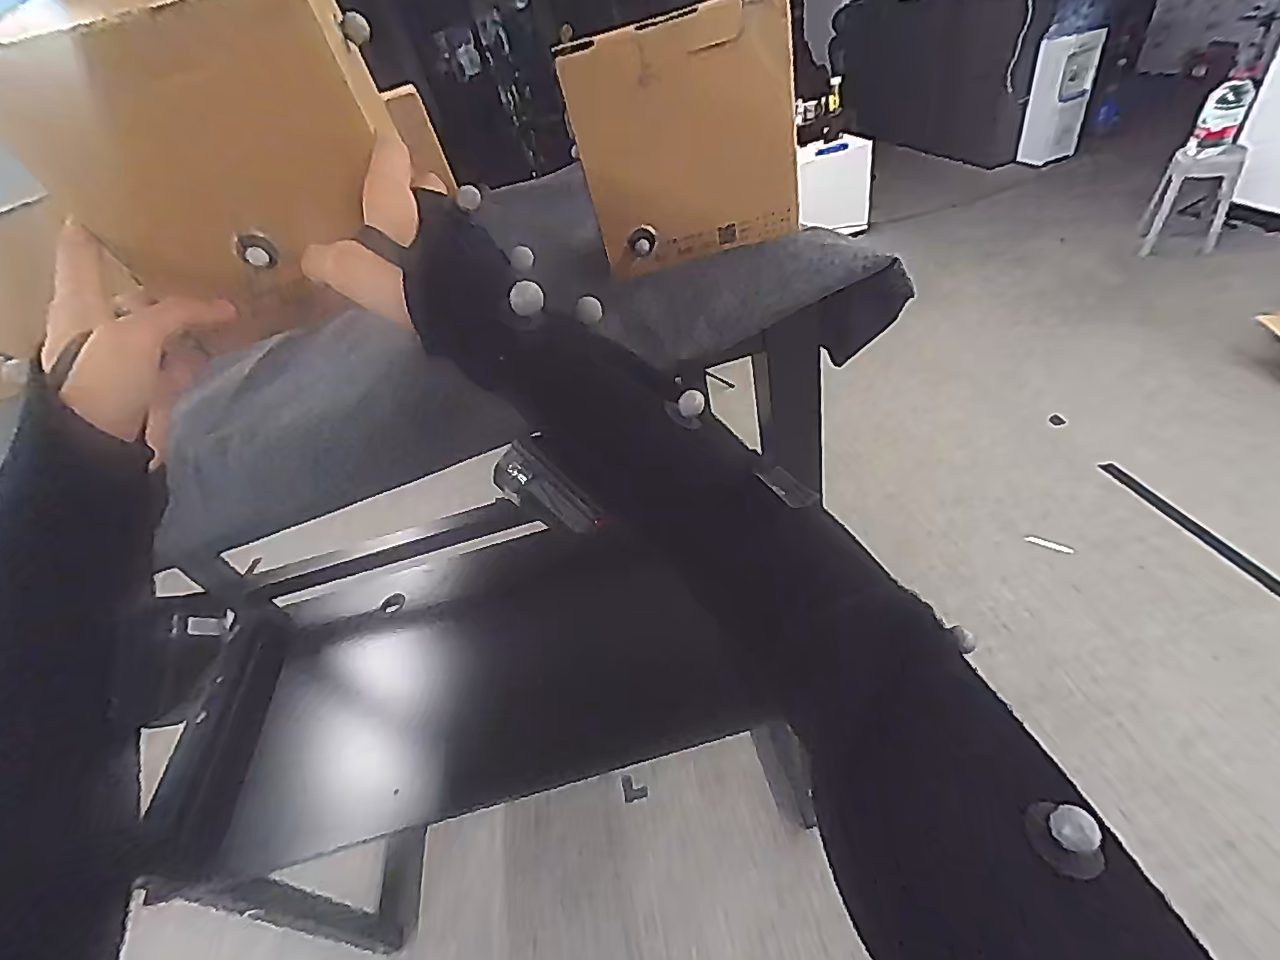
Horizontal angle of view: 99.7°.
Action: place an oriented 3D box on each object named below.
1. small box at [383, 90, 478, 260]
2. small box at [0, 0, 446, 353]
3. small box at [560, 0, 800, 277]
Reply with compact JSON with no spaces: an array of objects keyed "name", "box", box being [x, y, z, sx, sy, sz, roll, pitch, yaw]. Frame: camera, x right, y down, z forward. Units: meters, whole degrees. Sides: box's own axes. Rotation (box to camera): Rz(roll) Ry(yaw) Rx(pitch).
[{"name":"small box","box":[-0.322,-0.373,0.688,0.168,0.176,0.179,-23,41,-7]},{"name":"small box","box":[-0.250,-0.217,0.360,0.168,0.176,0.179,-22,53,-7]},{"name":"small box","box":[0.039,-0.296,0.479,0.168,0.176,0.179,-11,39,7]}]
